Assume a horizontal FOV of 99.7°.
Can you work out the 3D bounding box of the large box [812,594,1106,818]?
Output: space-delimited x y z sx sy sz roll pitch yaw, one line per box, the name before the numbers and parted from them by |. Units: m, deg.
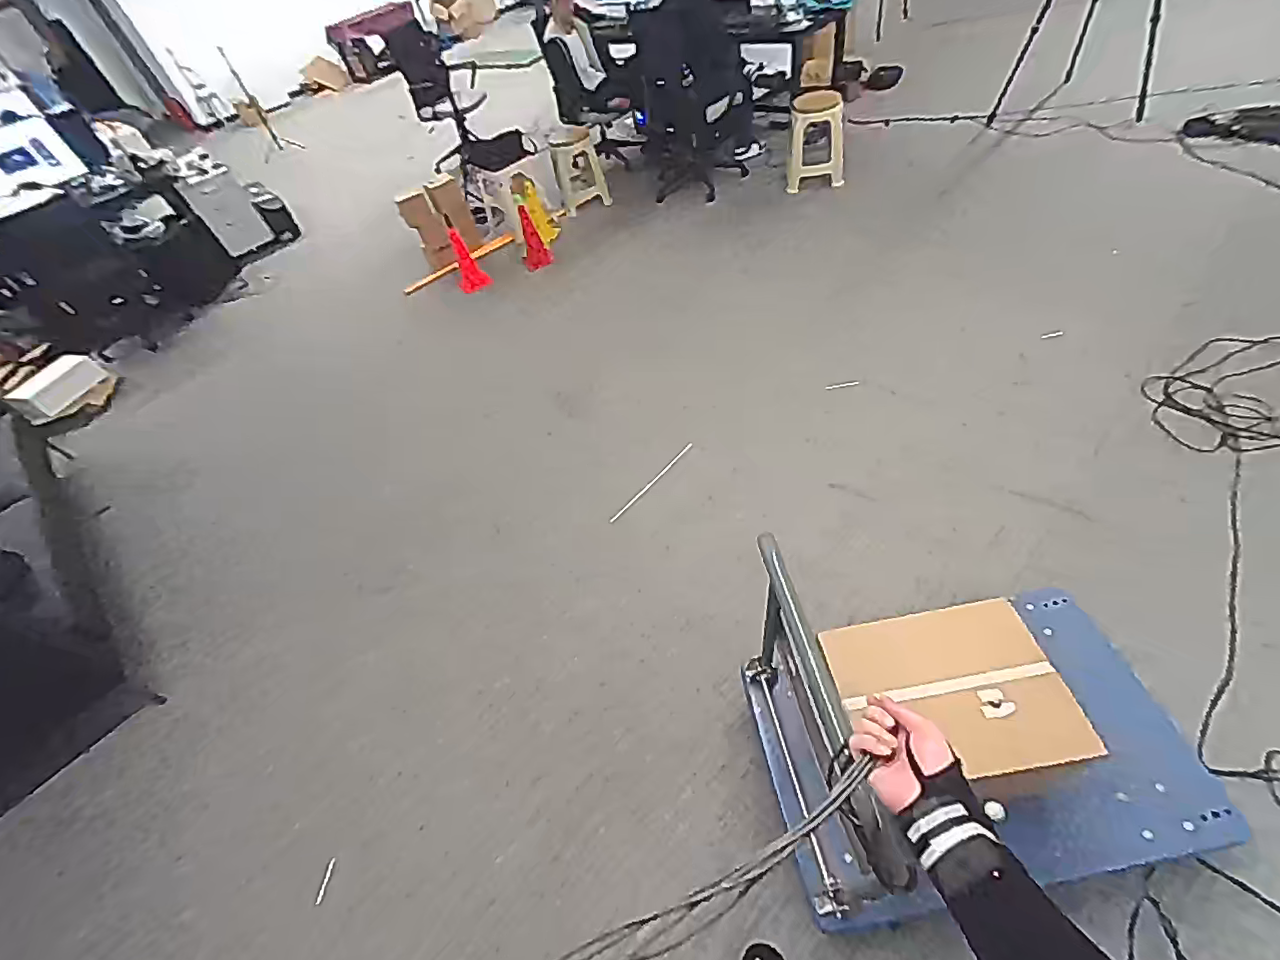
large box | 0.618 0.485 1.147 0.408 0.320 0.320 -11 49 3
